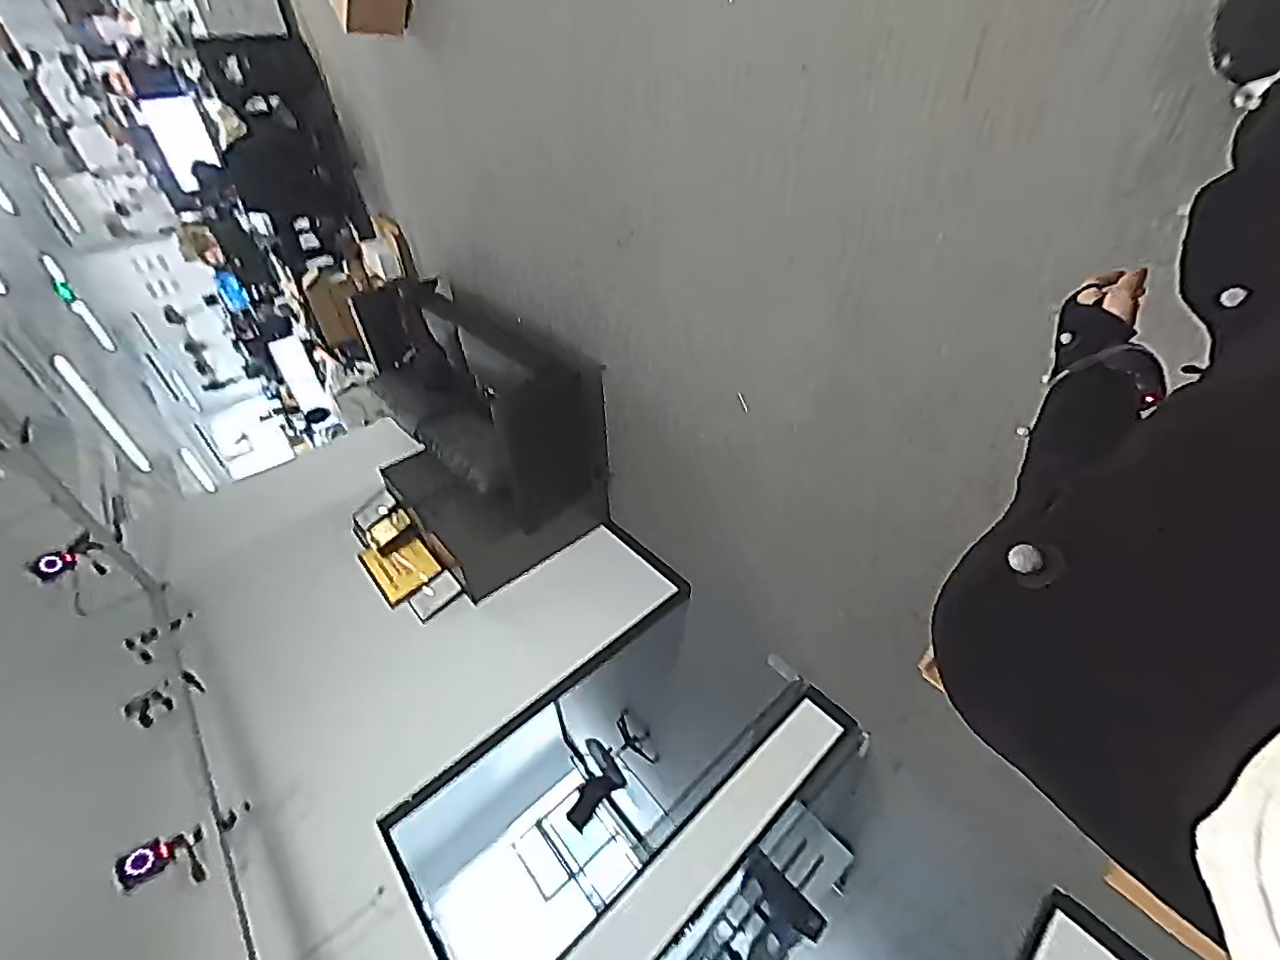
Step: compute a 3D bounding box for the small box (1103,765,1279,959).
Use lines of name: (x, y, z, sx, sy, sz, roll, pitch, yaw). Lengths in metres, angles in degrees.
small box: (0.809, 0.542, 0.750, 0.168, 0.176, 0.179, 38, 145, 35)
